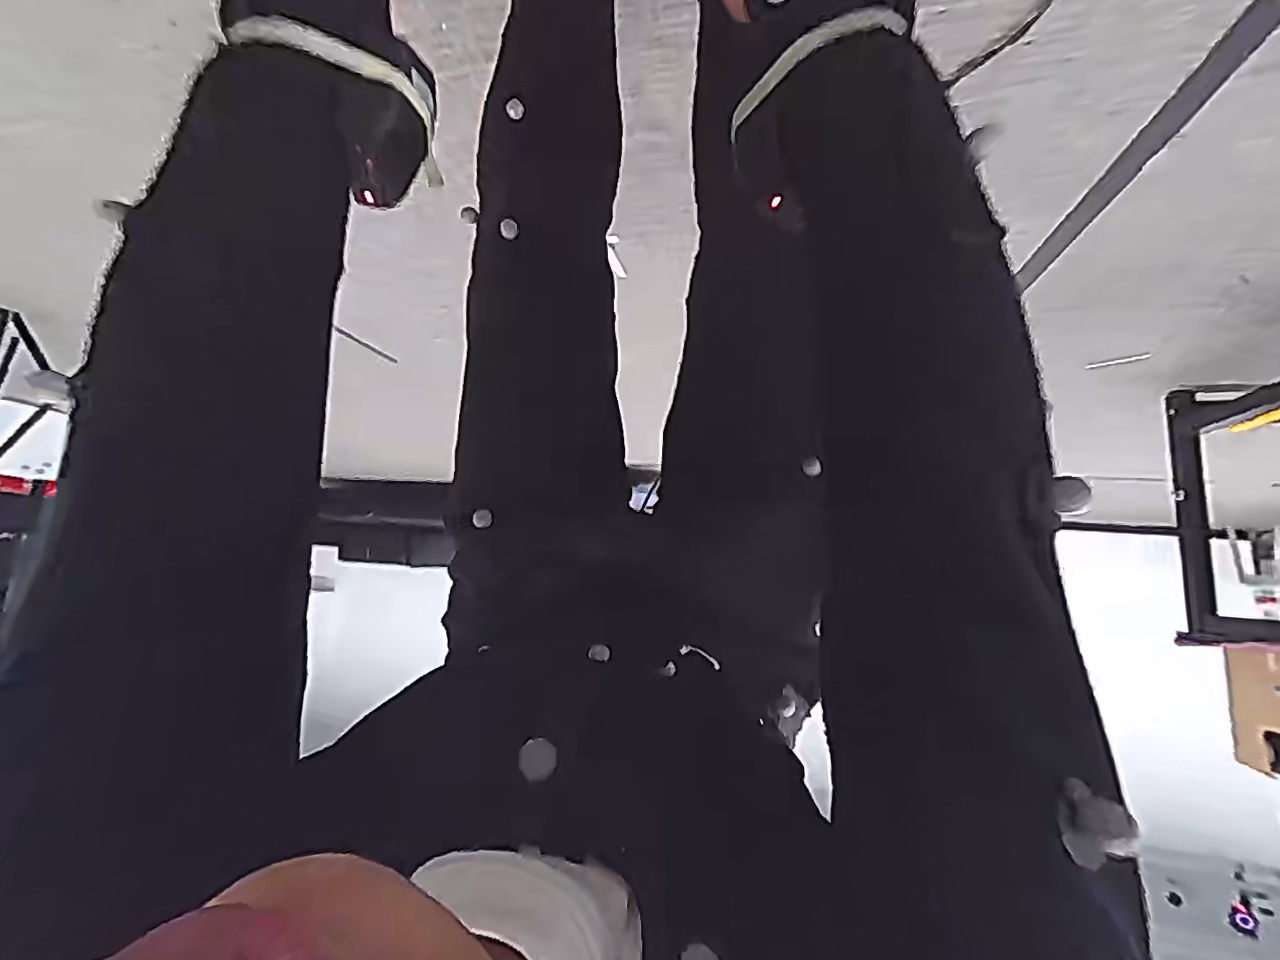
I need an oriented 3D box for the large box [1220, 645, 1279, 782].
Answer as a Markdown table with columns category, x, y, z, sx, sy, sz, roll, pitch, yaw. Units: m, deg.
| category | x | y | z | sx | sy | sz | roll | pitch | yaw |
| --- | --- | --- | --- | --- | --- | --- | --- | --- | --- |
| large box | 1.746 | 0.579 | 1.276 | 0.408 | 0.320 | 0.320 | 1 | 171 | 14 |
